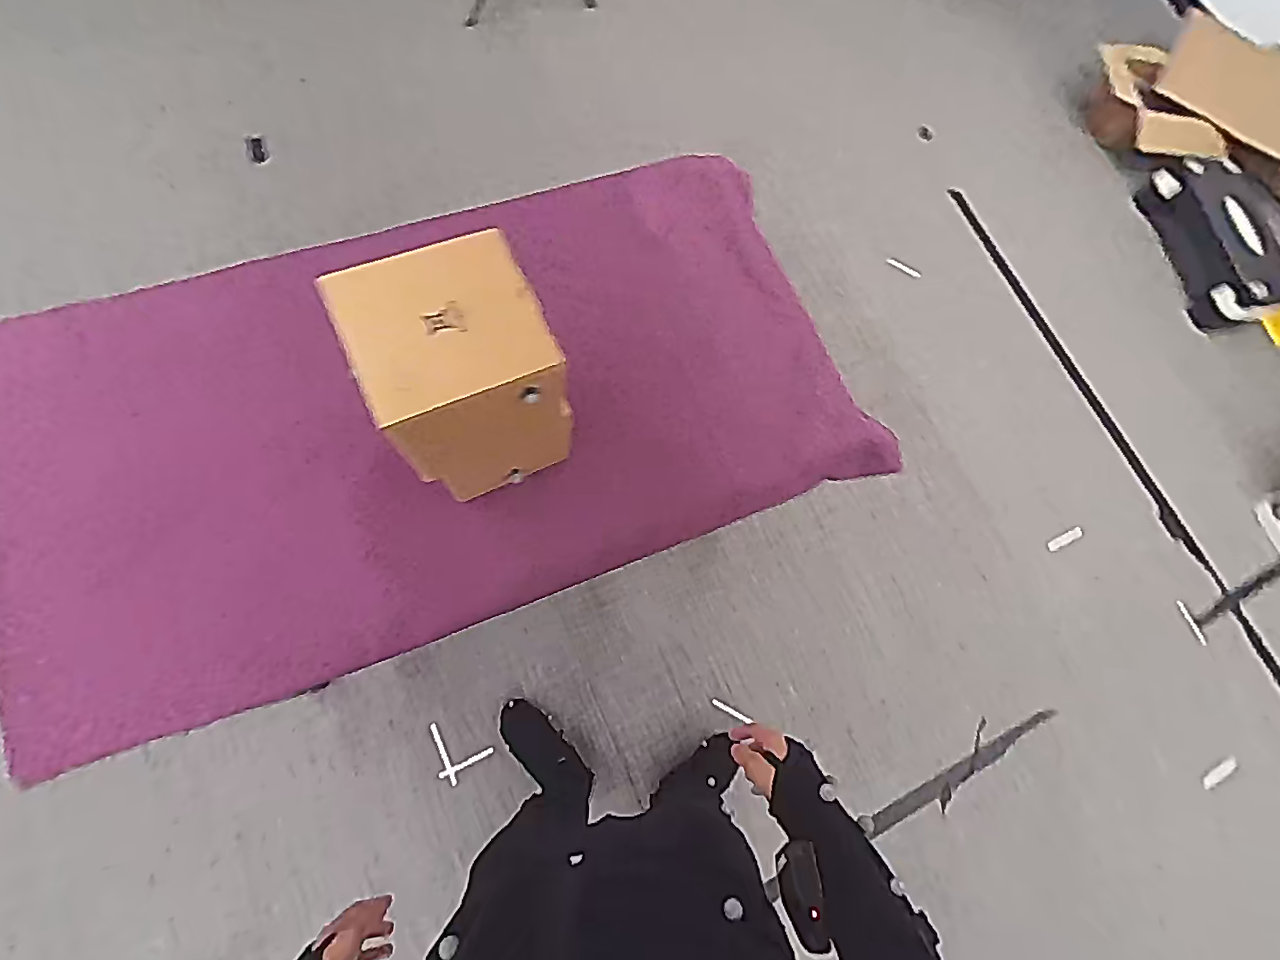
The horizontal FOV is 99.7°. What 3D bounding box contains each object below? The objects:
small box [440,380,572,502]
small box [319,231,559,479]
[{"bbox_3d":[-0.208,-0.091,0.737,0.179,0.176,0.168,-25,78,-16],"label":"small box"},{"bbox_3d":[-0.196,-0.121,0.576,0.179,0.176,0.168,-25,78,-15],"label":"small box"}]
